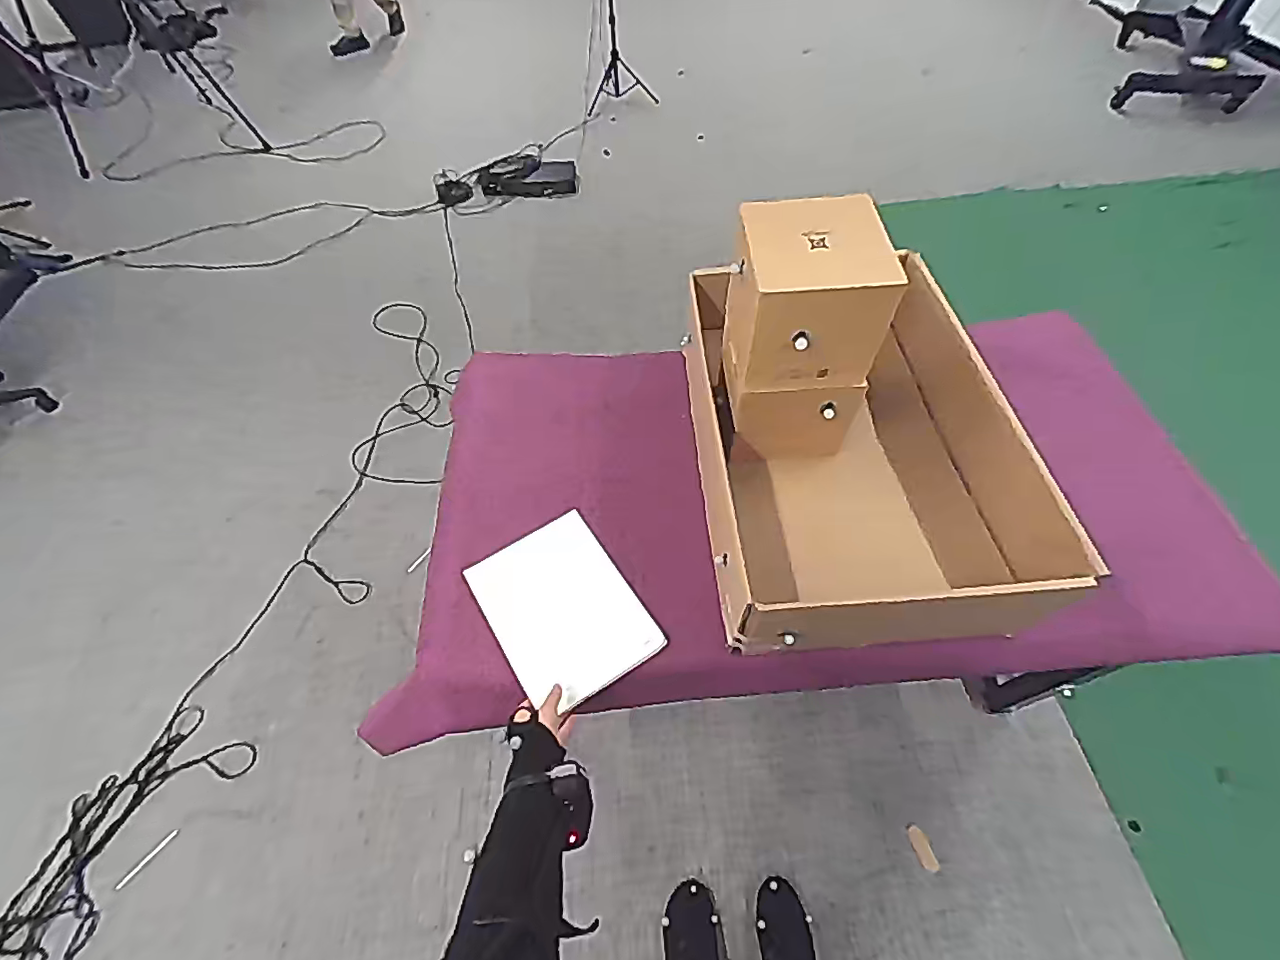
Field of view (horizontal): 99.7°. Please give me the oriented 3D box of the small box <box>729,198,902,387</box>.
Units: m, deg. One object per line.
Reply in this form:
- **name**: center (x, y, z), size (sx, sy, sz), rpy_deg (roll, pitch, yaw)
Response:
- **small box**: center (0.212, -0.235, 0.708), size (0.168, 0.176, 0.179), rpy_deg (-4, 56, 2)
